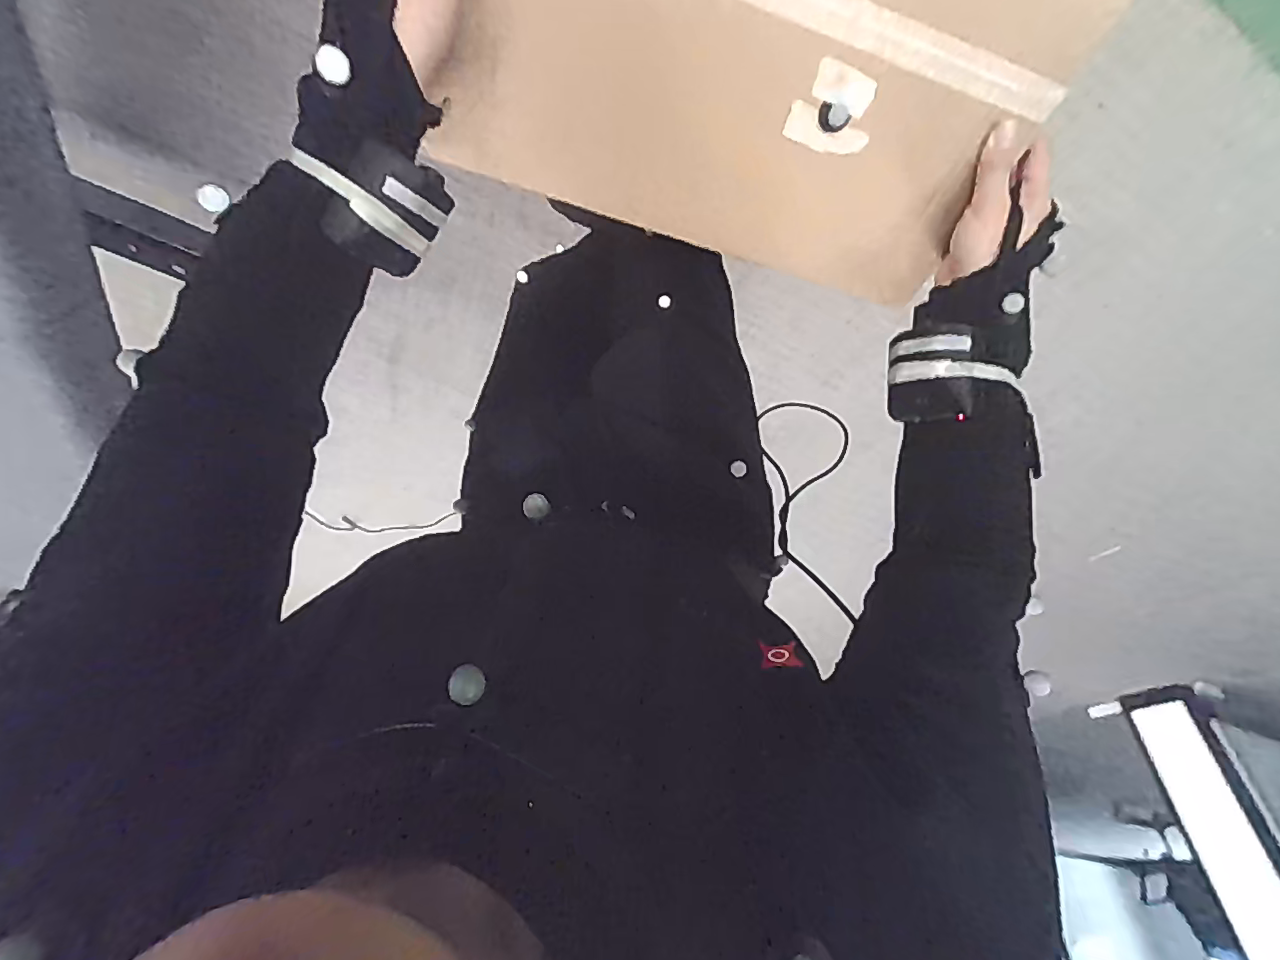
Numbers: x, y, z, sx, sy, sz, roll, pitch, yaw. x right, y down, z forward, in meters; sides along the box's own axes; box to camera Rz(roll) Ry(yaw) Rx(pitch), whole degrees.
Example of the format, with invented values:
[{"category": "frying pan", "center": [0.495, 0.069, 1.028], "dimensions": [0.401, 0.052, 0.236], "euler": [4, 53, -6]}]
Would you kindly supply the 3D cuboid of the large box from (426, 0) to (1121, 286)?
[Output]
[{"category": "large box", "center": [0.081, -0.407, 0.410], "dimensions": [0.408, 0.320, 0.320], "euler": [12, 137, -12]}]
